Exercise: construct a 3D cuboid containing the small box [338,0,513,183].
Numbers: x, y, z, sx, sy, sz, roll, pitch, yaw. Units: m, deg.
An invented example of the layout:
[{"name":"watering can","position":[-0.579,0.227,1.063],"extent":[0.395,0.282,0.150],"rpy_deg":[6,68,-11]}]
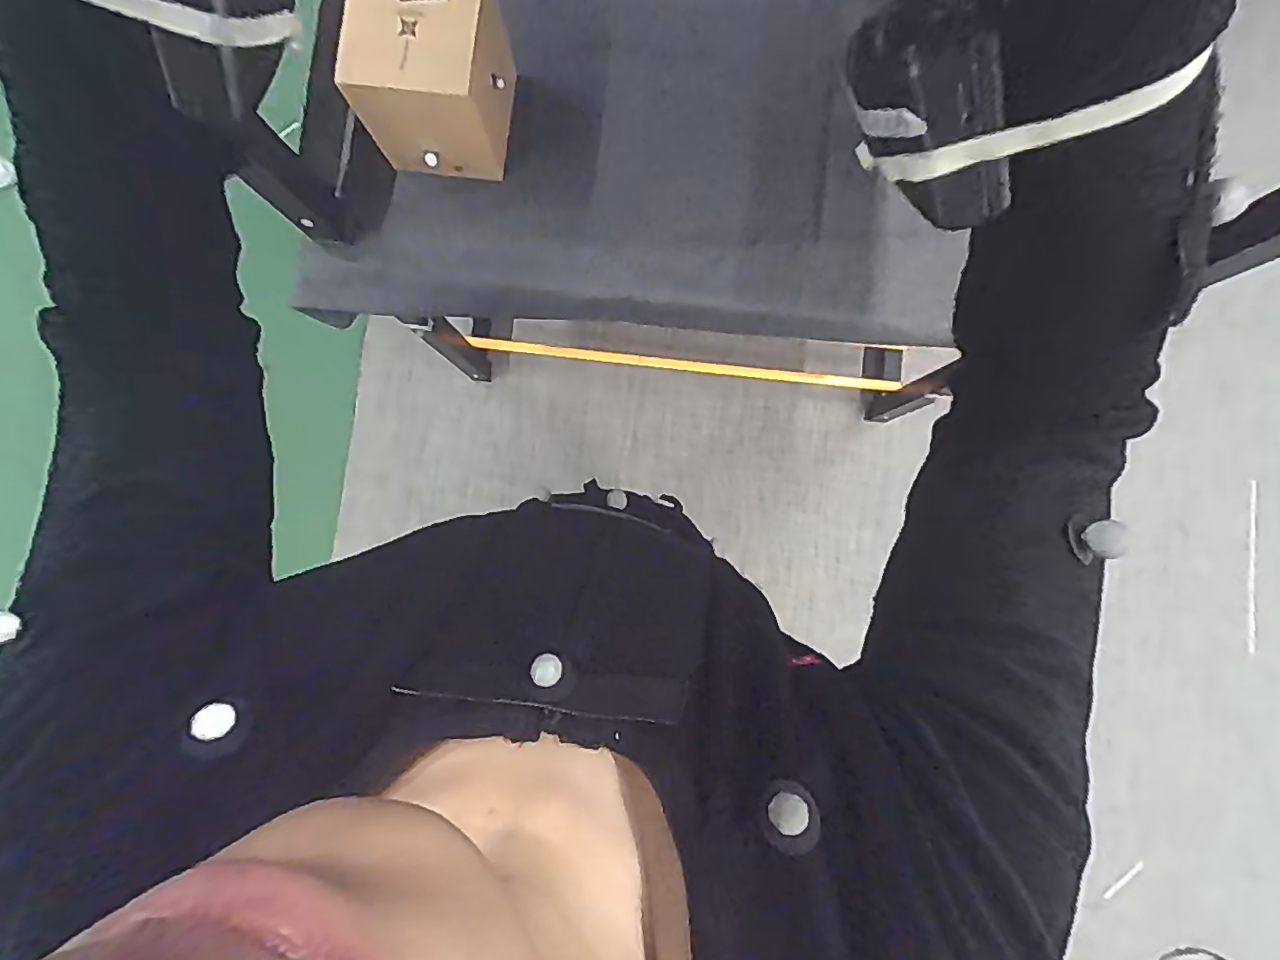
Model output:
[{"name":"small box","position":[-0.277,-0.548,0.740],"extent":[0.168,0.176,0.179],"rpy_deg":[6,86,0]}]
